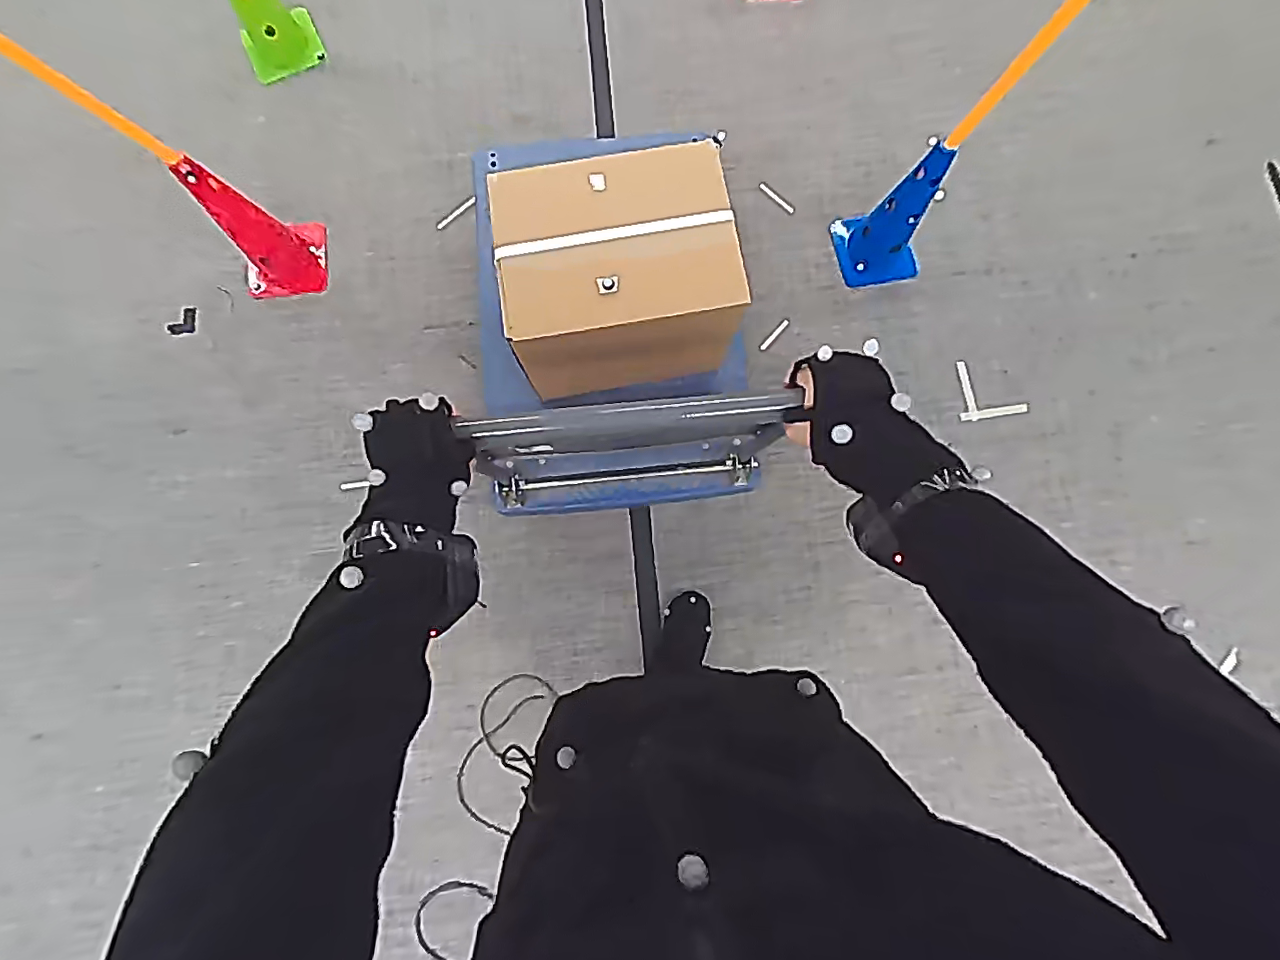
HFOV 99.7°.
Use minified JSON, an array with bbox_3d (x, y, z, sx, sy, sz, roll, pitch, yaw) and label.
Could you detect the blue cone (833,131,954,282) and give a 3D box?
[{"bbox_3d":[0.627,-0.651,1.281,0.193,0.380,0.192,-10,79,-2],"label":"blue cone"}]
